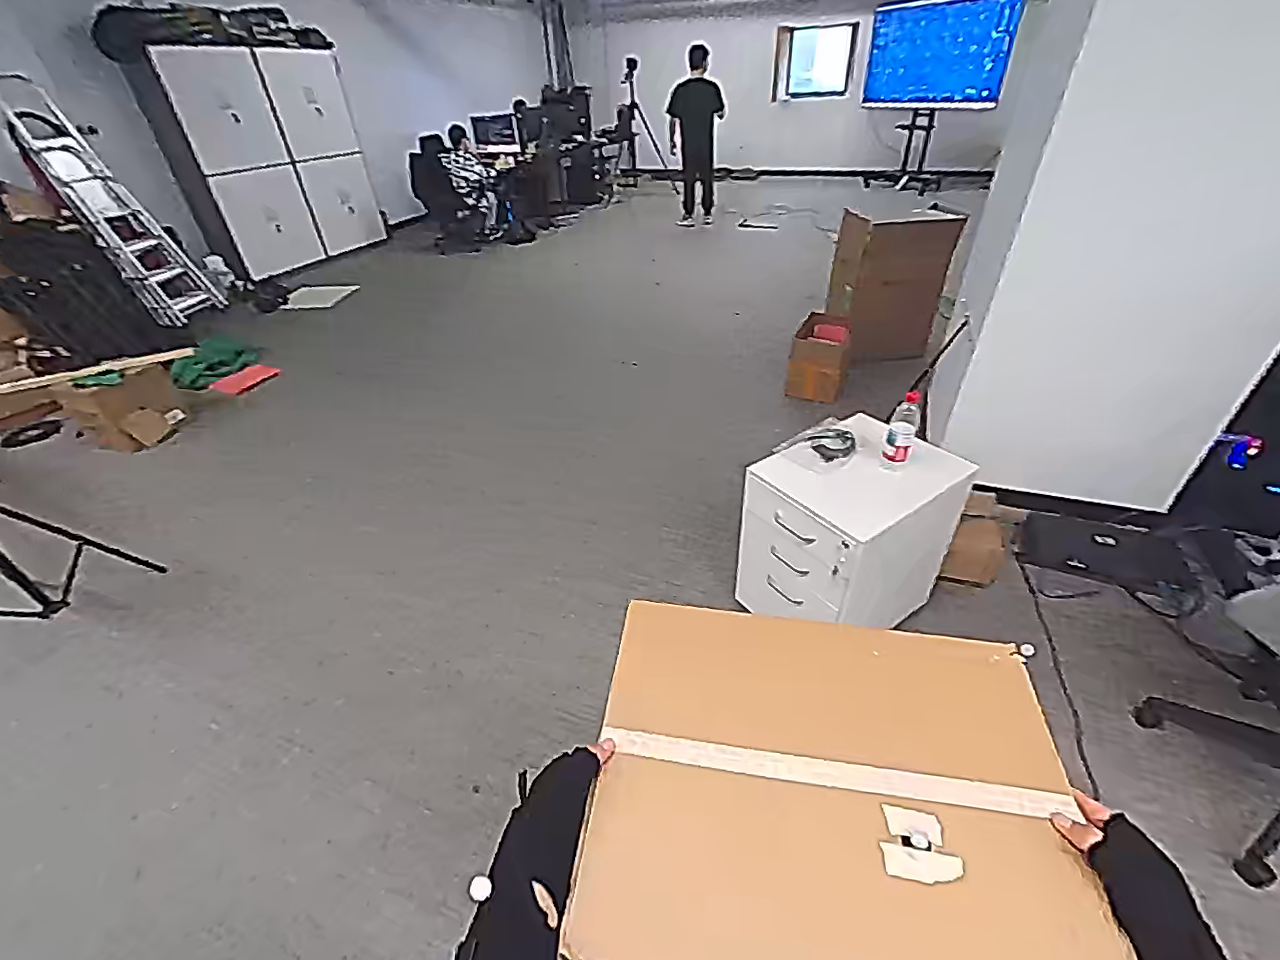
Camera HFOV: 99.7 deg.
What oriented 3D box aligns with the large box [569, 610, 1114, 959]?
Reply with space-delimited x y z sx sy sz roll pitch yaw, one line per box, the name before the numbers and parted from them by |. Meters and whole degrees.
large box | 0.166 0.375 0.588 0.408 0.320 0.320 5 44 8
